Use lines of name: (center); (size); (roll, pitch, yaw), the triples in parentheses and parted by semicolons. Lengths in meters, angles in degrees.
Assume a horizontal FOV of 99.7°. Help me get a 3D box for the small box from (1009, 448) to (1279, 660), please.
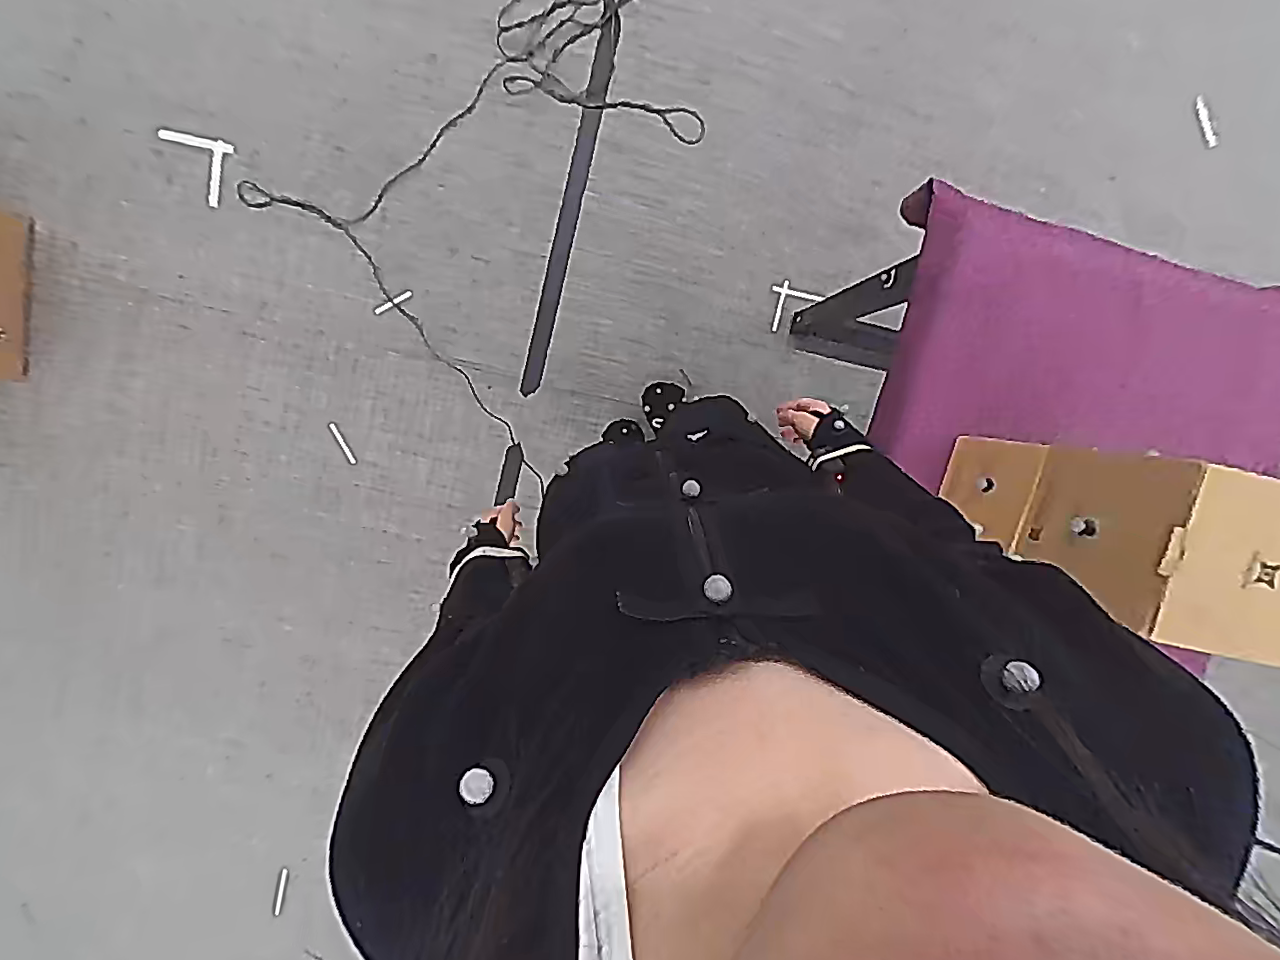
small box: (0.544, 0.064, 0.573); (0.179, 0.176, 0.168); (13, 97, -6)

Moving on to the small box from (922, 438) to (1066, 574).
small box: (0.526, 0.043, 0.734); (0.179, 0.176, 0.168); (14, 97, -7)
